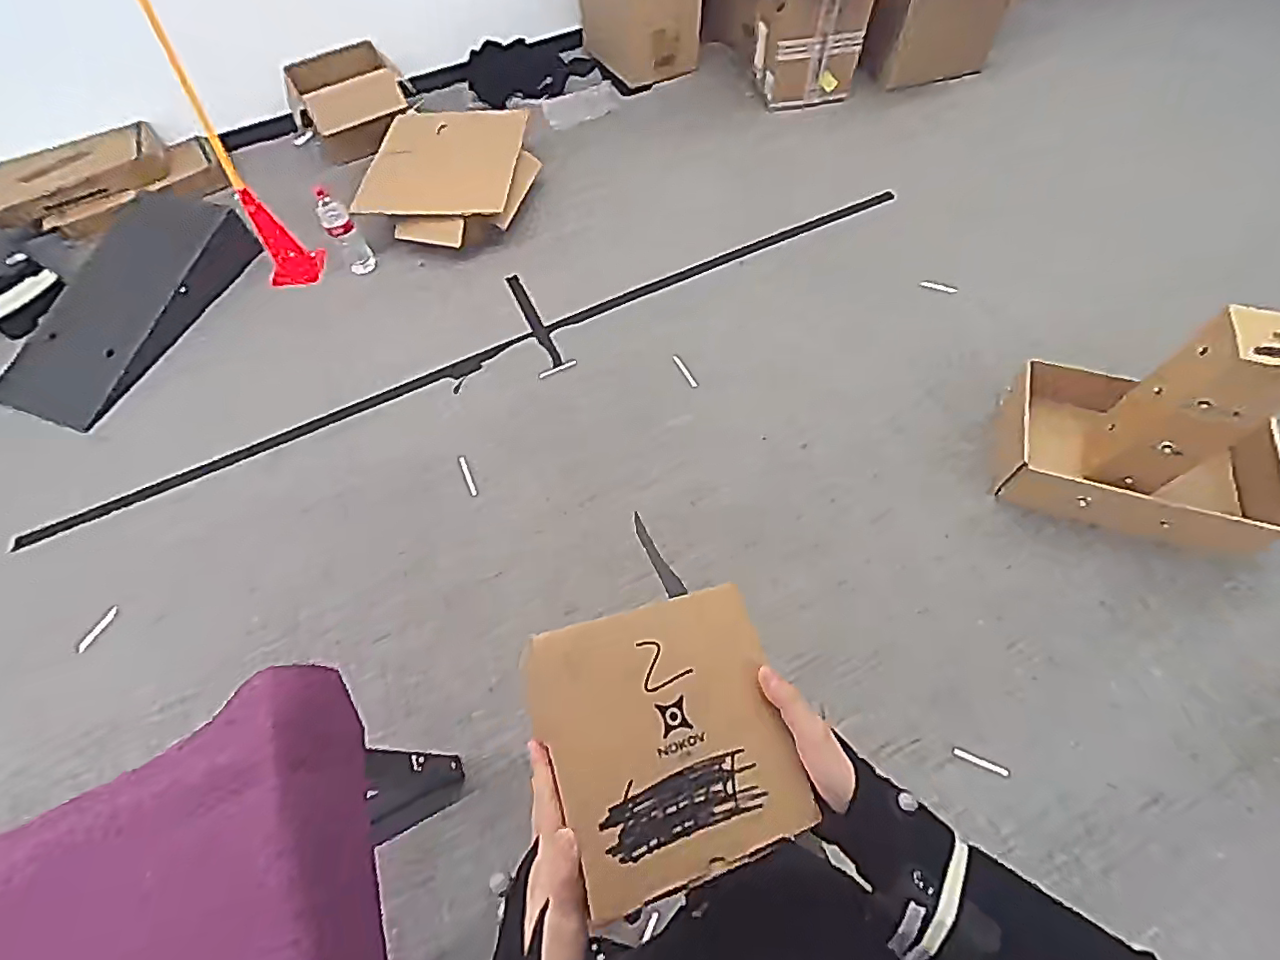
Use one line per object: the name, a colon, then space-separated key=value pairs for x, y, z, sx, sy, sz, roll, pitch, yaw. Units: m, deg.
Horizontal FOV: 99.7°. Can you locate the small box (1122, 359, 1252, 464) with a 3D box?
small box: x=1.355 y=-0.169 z=1.355 sx=0.168 sy=0.176 sz=0.179 roll=17 pitch=64 yaw=14

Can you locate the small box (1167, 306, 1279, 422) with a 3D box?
small box: x=1.347 y=-0.256 z=1.215 sx=0.168 sy=0.176 sz=0.179 roll=17 pitch=61 yaw=13

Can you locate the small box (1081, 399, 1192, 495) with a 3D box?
small box: x=1.362 y=-0.088 z=1.495 sx=0.168 sy=0.176 sz=0.179 roll=19 pitch=63 yaw=14
